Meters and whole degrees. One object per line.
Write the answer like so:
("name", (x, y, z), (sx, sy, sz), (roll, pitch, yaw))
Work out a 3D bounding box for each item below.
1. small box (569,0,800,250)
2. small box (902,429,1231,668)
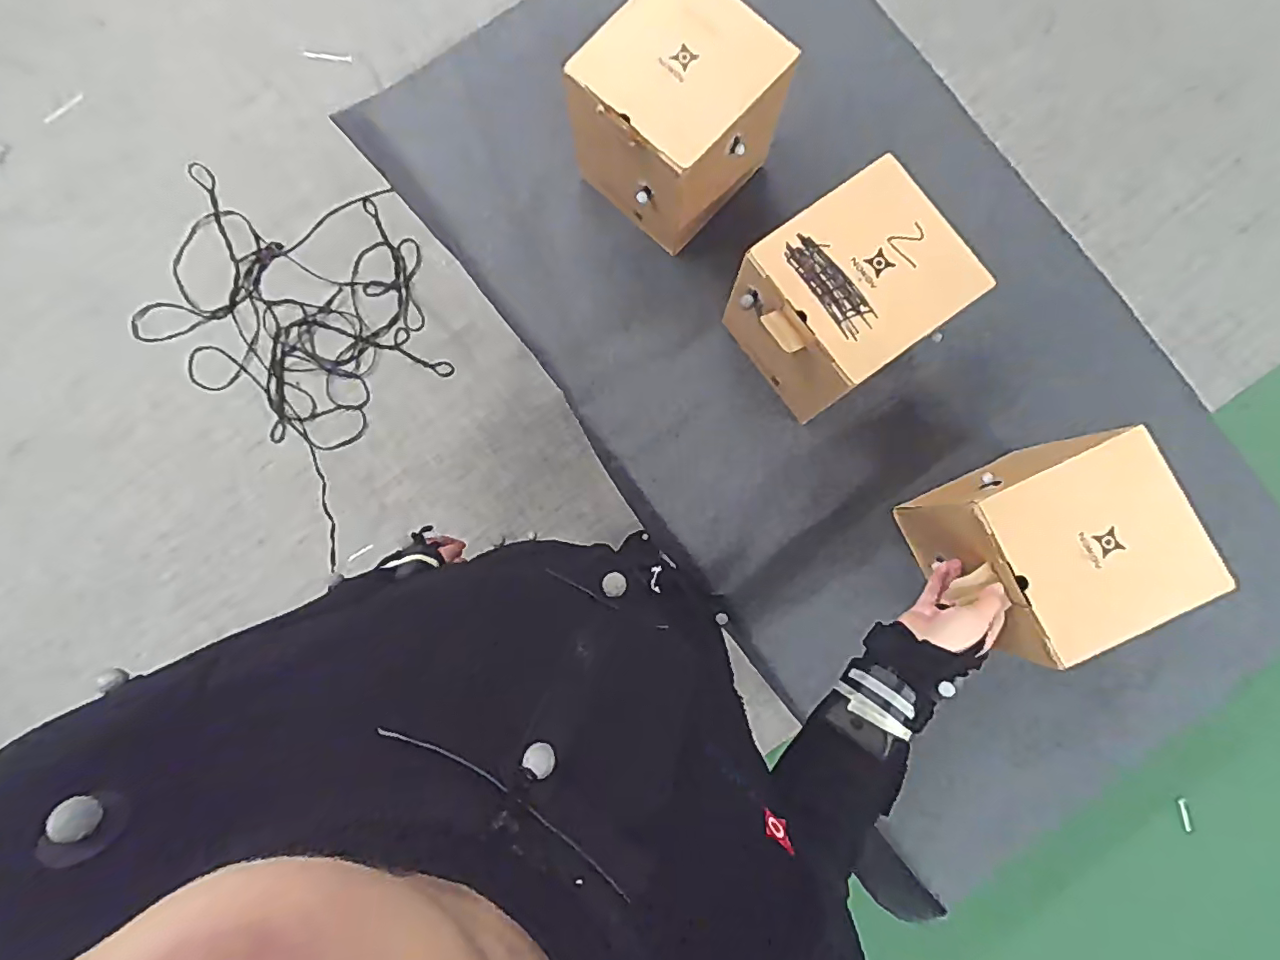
("small box", (0.045, -0.406, 0.617), (0.168, 0.176, 0.179), (43, 85, 3))
("small box", (0.418, 0.065, 0.566), (0.179, 0.176, 0.168), (-25, 85, -1))
